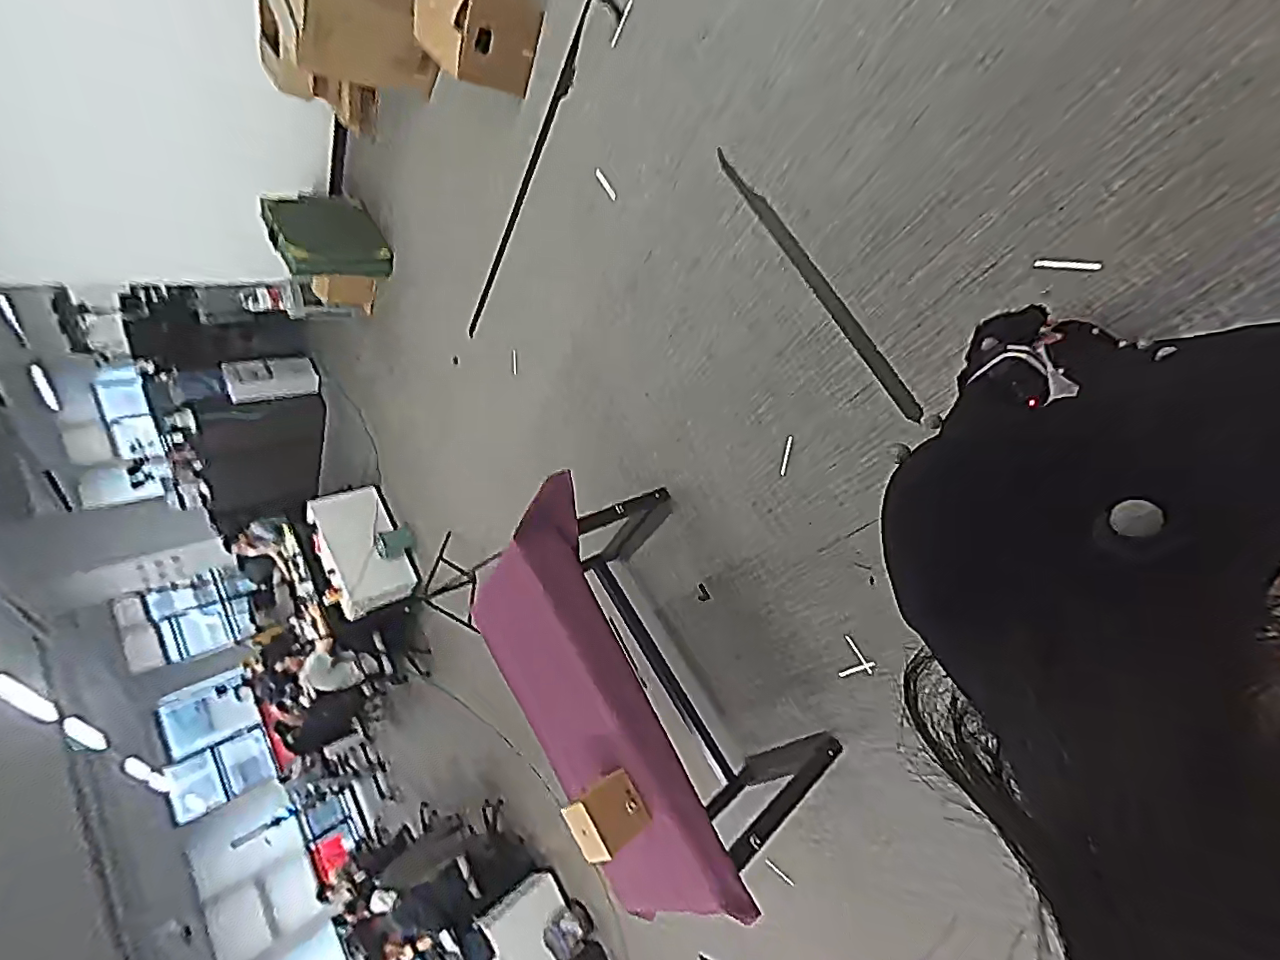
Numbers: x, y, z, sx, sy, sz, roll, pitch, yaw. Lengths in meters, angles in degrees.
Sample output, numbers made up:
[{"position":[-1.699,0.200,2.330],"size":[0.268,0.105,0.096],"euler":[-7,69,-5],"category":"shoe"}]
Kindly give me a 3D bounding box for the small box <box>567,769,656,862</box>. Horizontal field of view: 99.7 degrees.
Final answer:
[{"position":[-0.083,0.994,1.606],"size":[0.168,0.176,0.179],"euler":[55,136,17],"category":"small box"}]
